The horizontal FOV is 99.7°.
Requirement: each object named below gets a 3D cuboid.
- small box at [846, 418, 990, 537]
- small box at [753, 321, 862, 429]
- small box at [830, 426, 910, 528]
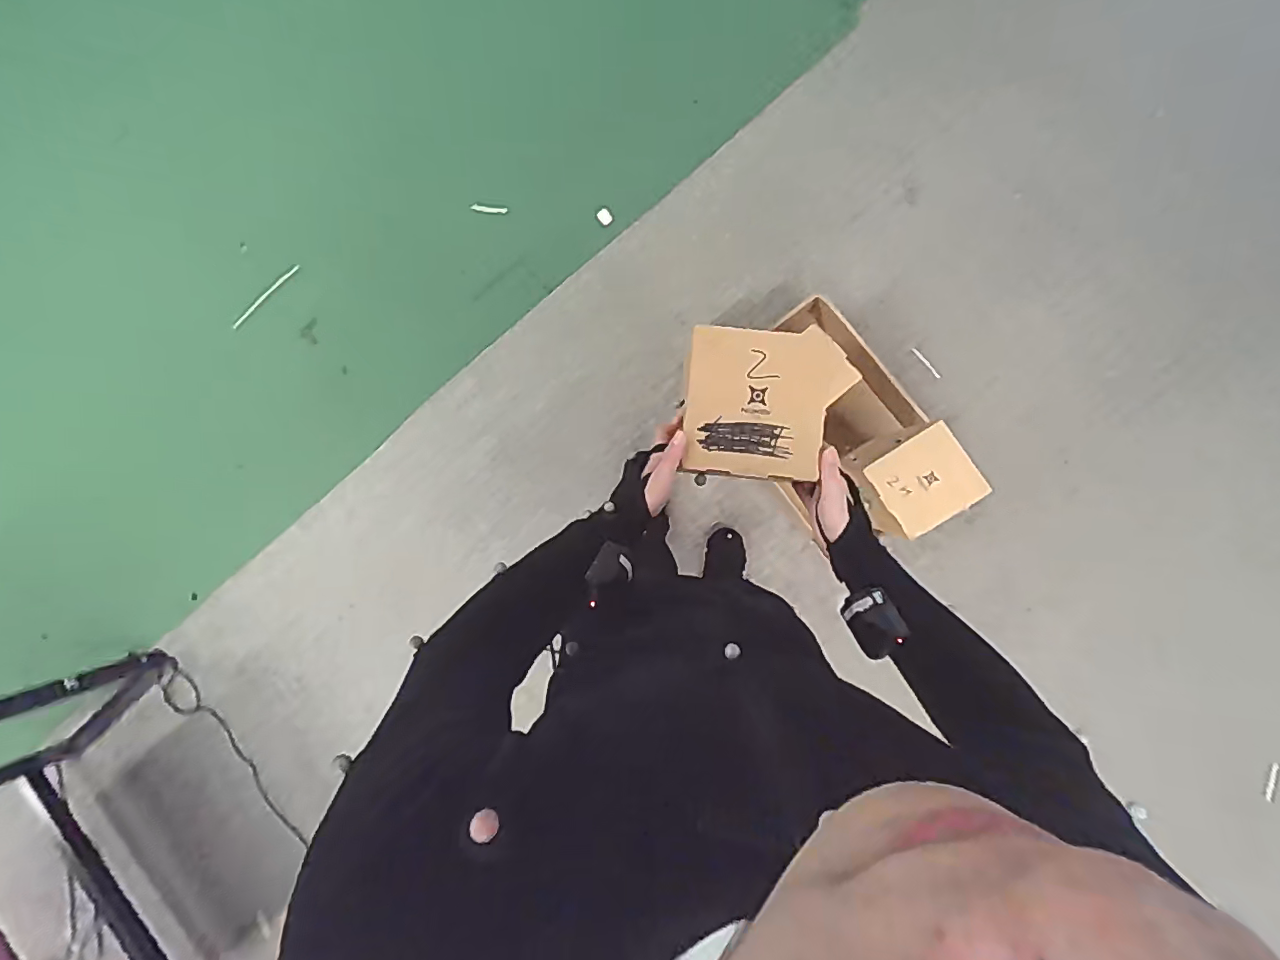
[{"bbox_3d":[0.551,-0.006,1.100,0.179,0.176,0.168,-33,86,8],"label":"small box"},{"bbox_3d":[0.386,-0.241,1.287,0.179,0.176,0.168,-40,85,5],"label":"small box"},{"bbox_3d":[0.576,-0.009,1.264,0.179,0.176,0.168,-34,87,8],"label":"small box"}]
